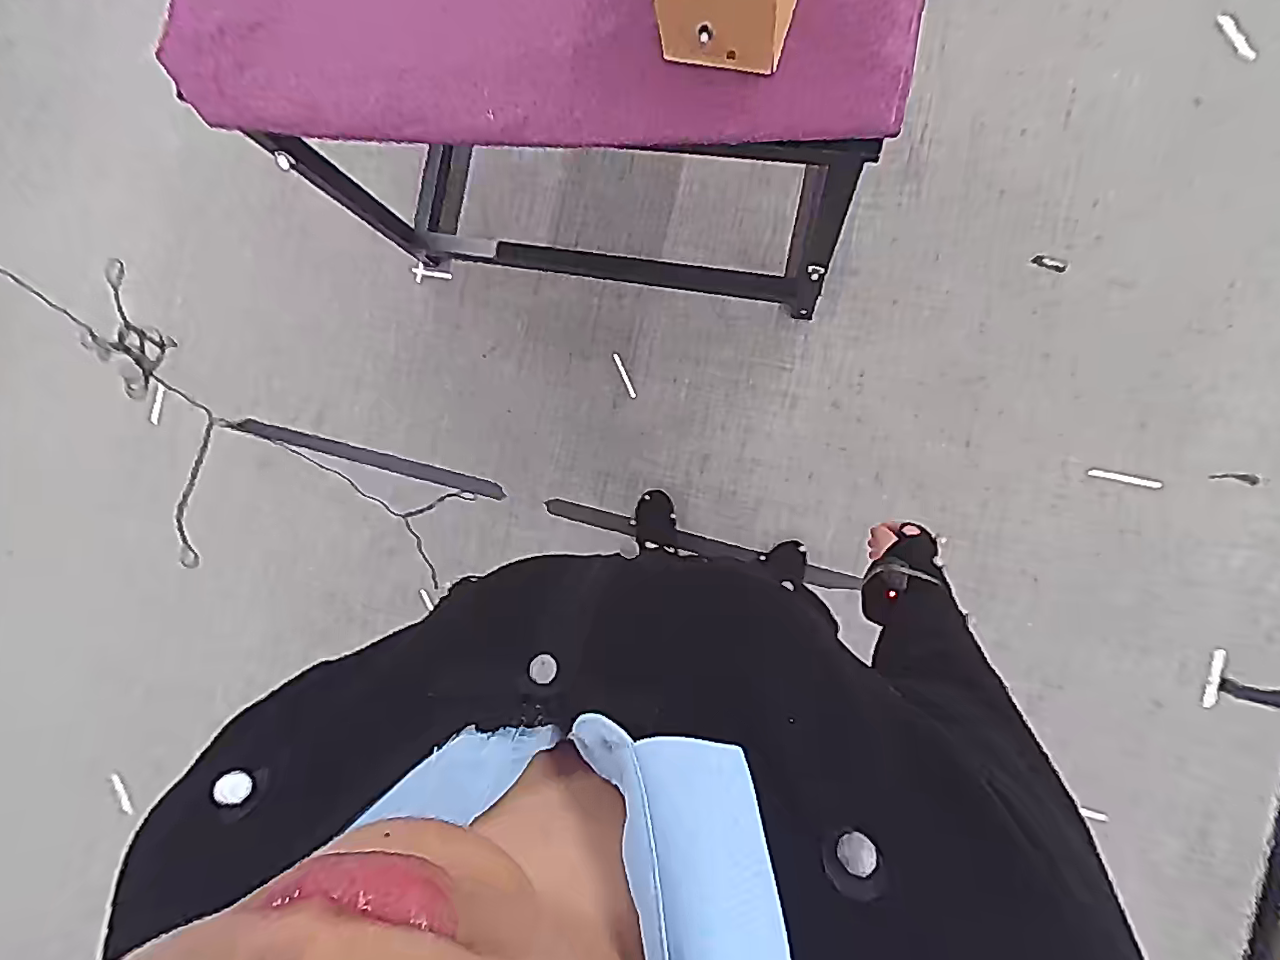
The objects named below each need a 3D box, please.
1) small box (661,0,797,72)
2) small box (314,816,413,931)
[{"bbox_3d":[0.122,-0.684,0.697,0.168,0.176,0.179,17,90,11],"label":"small box"},{"bbox_3d":[-0.758,1.079,1.501,0.168,0.176,0.179,11,90,11],"label":"small box"}]
